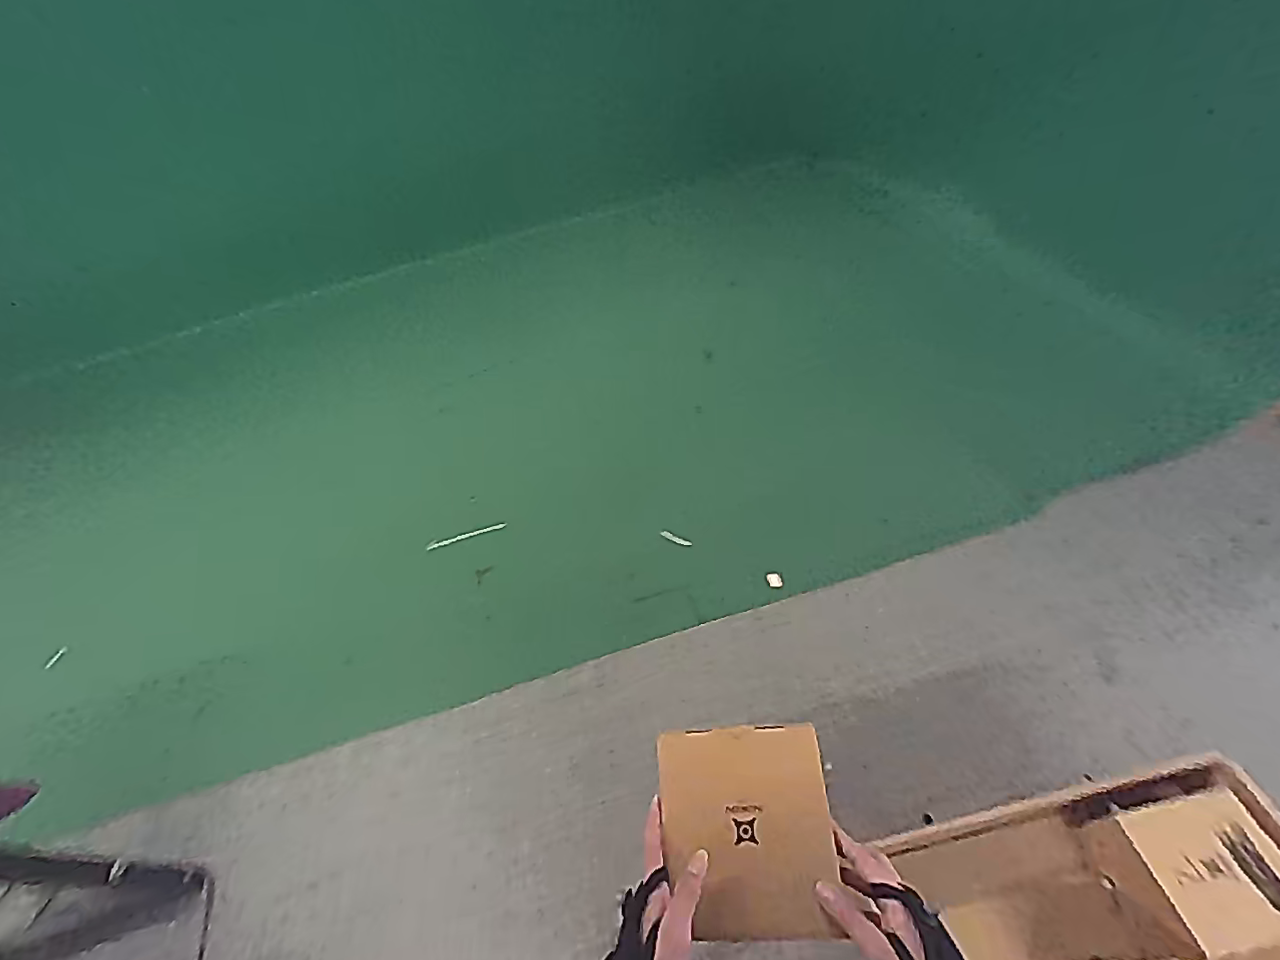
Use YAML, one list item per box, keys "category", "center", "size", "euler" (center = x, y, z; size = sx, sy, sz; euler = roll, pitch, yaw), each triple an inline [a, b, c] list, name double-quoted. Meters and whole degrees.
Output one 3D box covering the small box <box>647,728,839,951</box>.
- category: "small box"
  center: [0.103, 0.375, 0.585]
  size: [0.168, 0.176, 0.179]
  euler: [-7, 59, 6]
